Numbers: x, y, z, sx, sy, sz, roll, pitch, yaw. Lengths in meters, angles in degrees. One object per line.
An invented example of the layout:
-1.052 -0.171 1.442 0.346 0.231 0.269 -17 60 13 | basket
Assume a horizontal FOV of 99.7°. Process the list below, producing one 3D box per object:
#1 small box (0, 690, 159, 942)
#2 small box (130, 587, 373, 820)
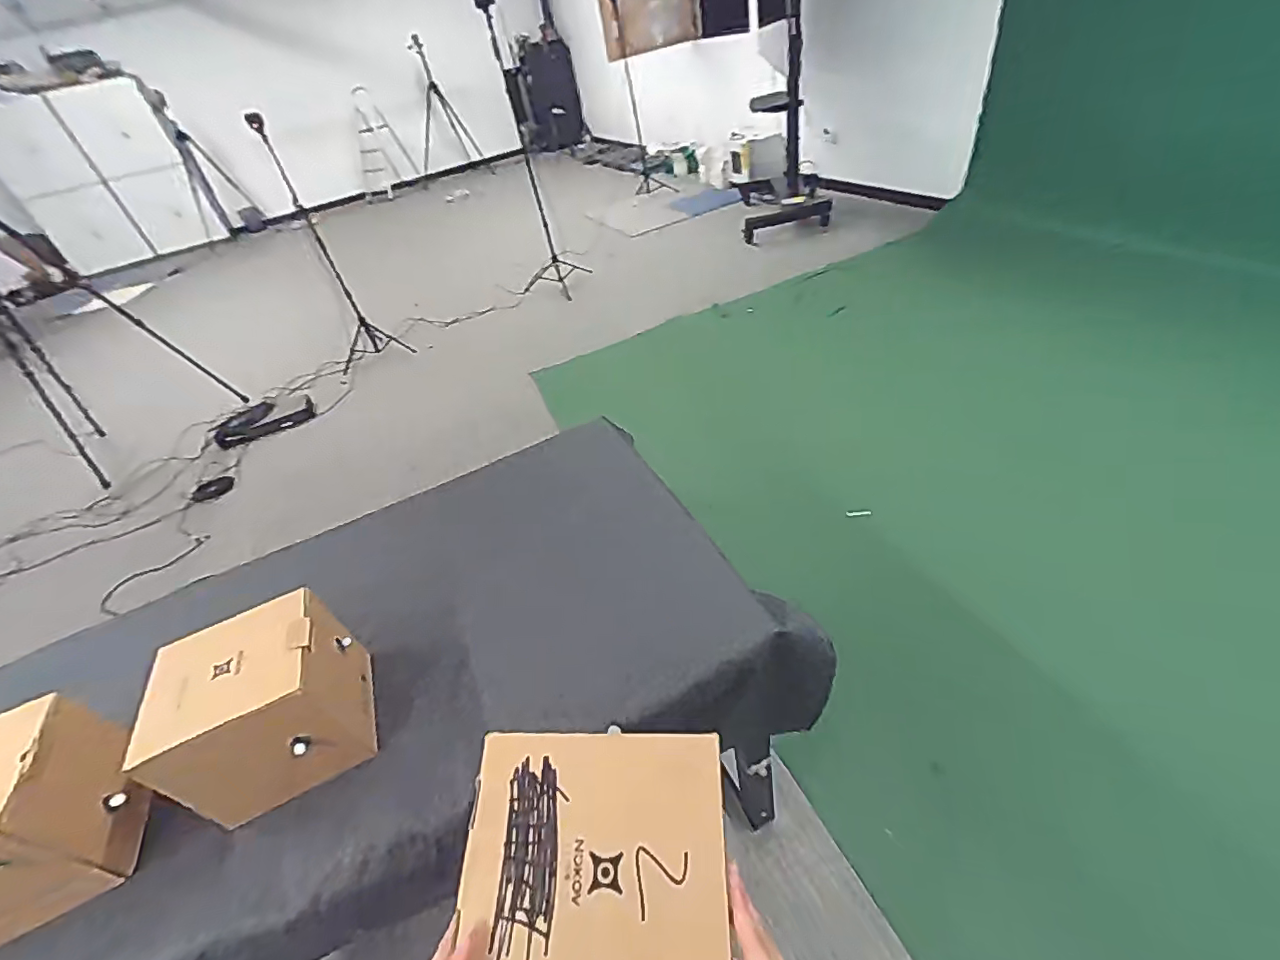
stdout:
-0.700 0.383 0.606 0.179 0.176 0.168 -24 40 -14 | small box
-0.449 0.272 0.665 0.179 0.176 0.168 -26 40 -12 | small box
